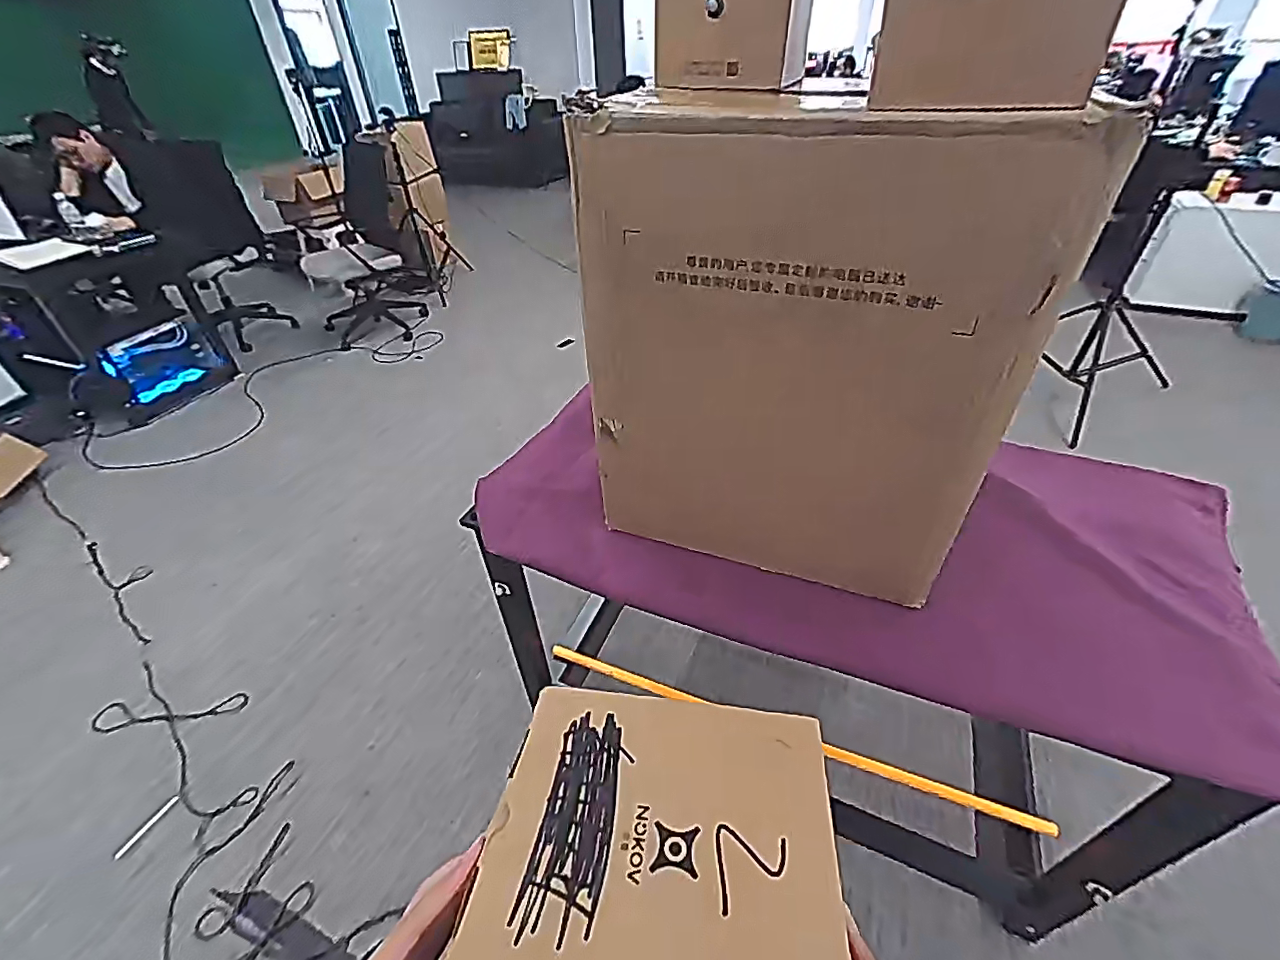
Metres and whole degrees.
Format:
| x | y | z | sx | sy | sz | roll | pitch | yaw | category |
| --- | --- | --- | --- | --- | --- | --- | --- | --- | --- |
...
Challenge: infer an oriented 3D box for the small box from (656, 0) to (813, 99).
| x | y | z | sx | sy | sz | roll | pitch | yaw | category |
| --- | --- | --- | --- | --- | --- | --- | --- | --- | --- |
| 0.125 | -0.595 | 0.689 | 0.168 | 0.176 | 0.179 | 15 | 43 | 17 | small box |
